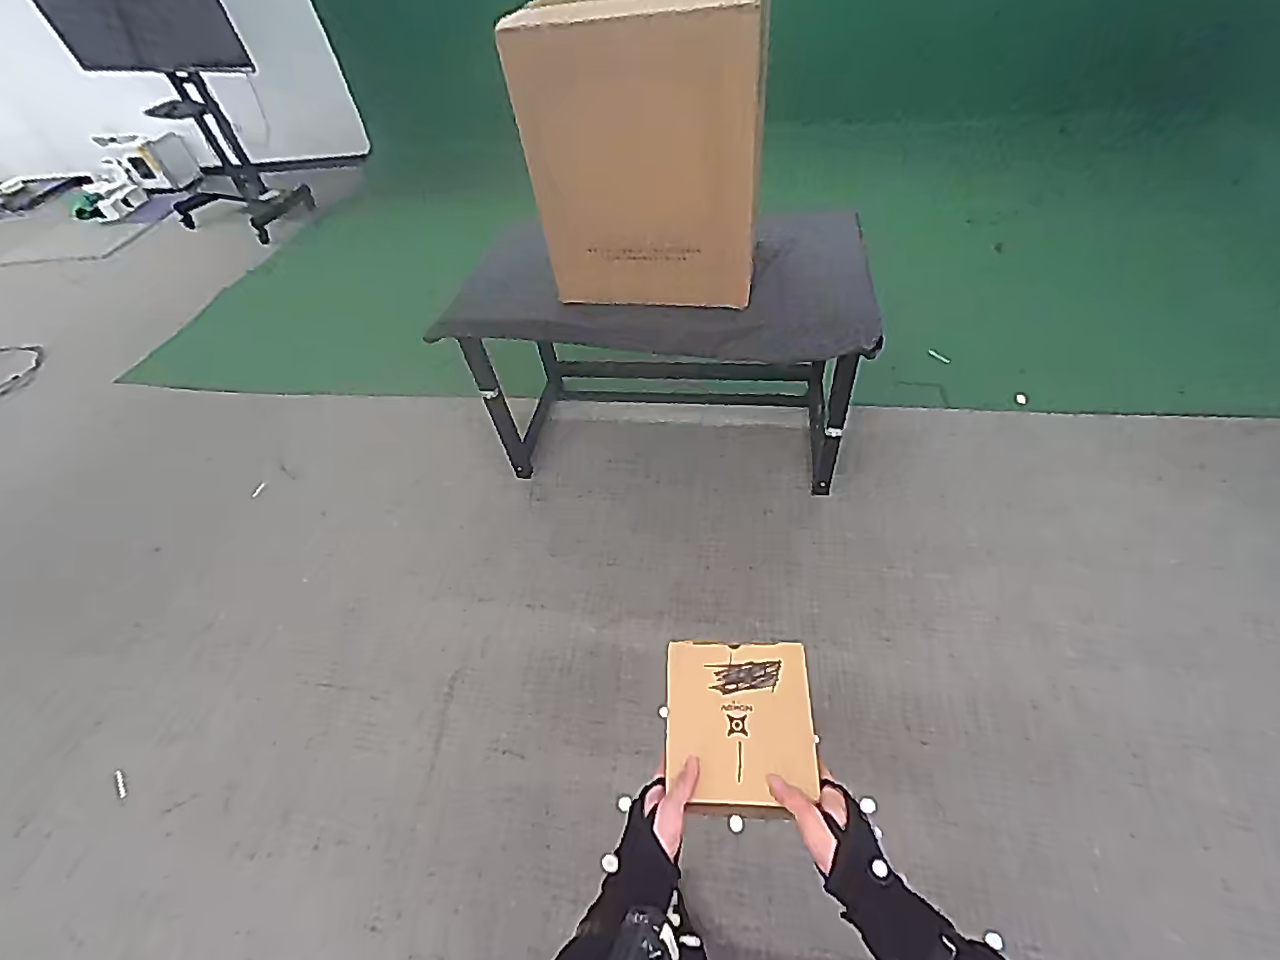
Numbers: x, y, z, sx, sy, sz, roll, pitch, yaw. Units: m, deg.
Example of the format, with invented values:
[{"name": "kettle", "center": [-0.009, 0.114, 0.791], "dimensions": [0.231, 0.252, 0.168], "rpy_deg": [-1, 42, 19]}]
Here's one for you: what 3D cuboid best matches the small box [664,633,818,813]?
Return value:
[{"name": "small box", "center": [0.121, 0.310, 0.687], "dimensions": [0.168, 0.176, 0.179], "rpy_deg": [-2, 55, 8]}]
